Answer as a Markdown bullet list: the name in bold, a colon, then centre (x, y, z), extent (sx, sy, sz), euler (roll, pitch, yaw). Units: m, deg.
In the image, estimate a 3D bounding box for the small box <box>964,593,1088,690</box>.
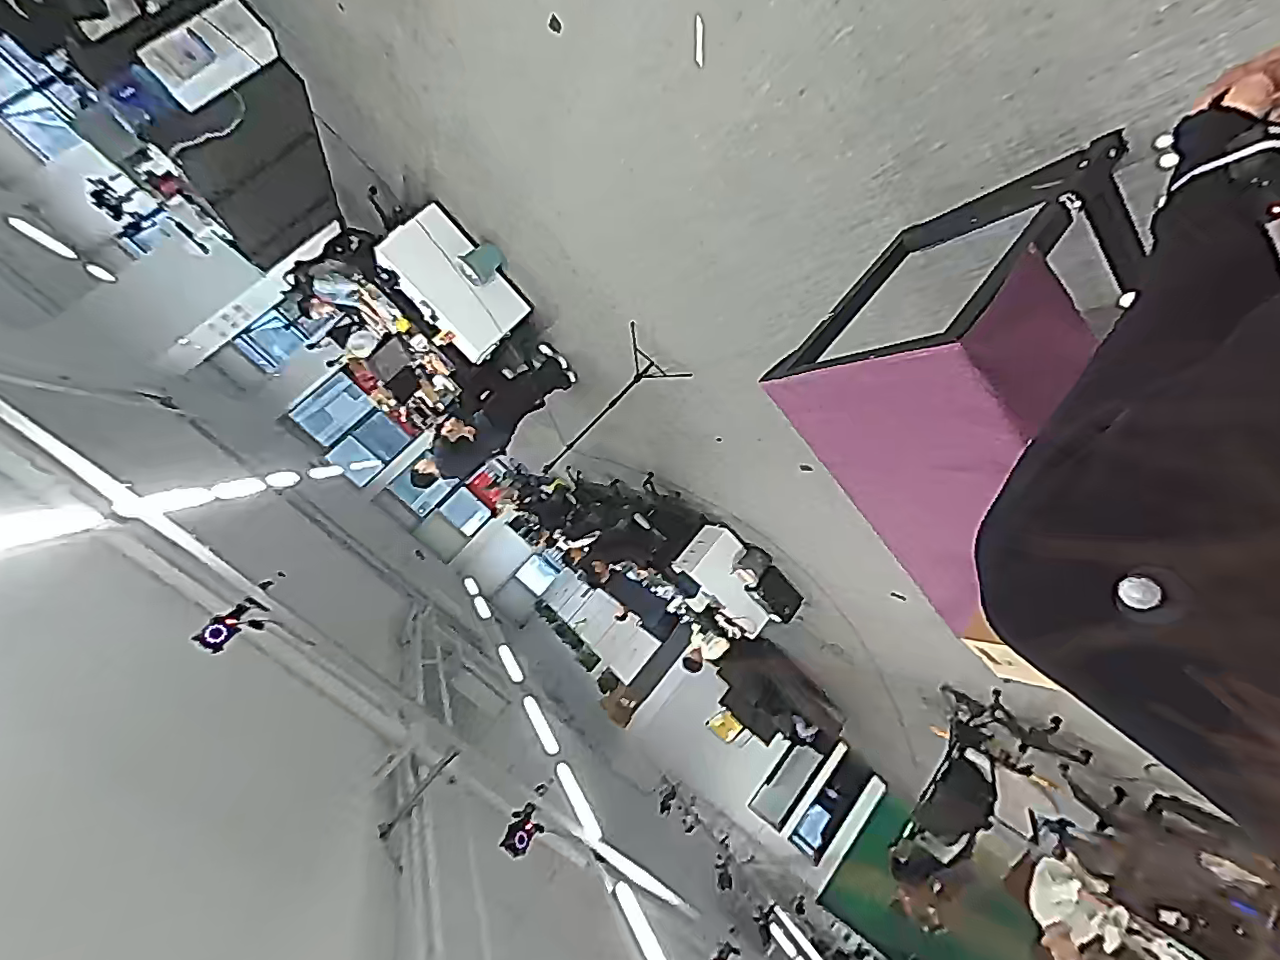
- **small box**: centre (1.018, 0.417, 1.430), extent (0.168, 0.176, 0.179), euler (43, 165, -5)
